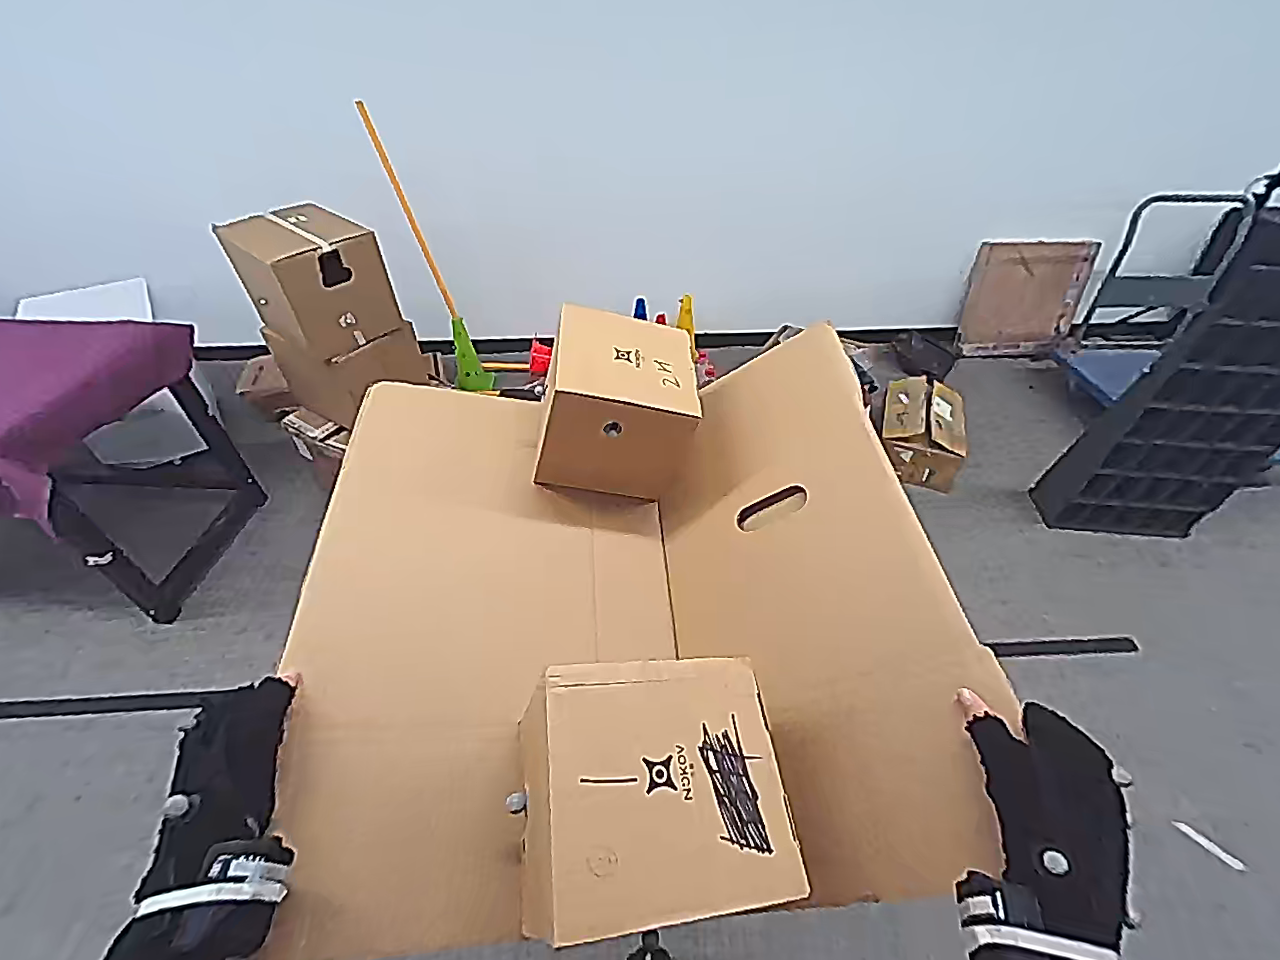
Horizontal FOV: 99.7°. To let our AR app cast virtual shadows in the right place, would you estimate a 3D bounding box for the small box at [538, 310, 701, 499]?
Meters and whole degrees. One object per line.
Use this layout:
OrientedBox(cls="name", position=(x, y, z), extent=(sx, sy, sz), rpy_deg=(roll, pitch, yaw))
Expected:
OrientedBox(cls="small box", position=(-0.034, -0.093, 0.723), extent=(0.179, 0.176, 0.168), rpy_deg=(10, 50, -14))
